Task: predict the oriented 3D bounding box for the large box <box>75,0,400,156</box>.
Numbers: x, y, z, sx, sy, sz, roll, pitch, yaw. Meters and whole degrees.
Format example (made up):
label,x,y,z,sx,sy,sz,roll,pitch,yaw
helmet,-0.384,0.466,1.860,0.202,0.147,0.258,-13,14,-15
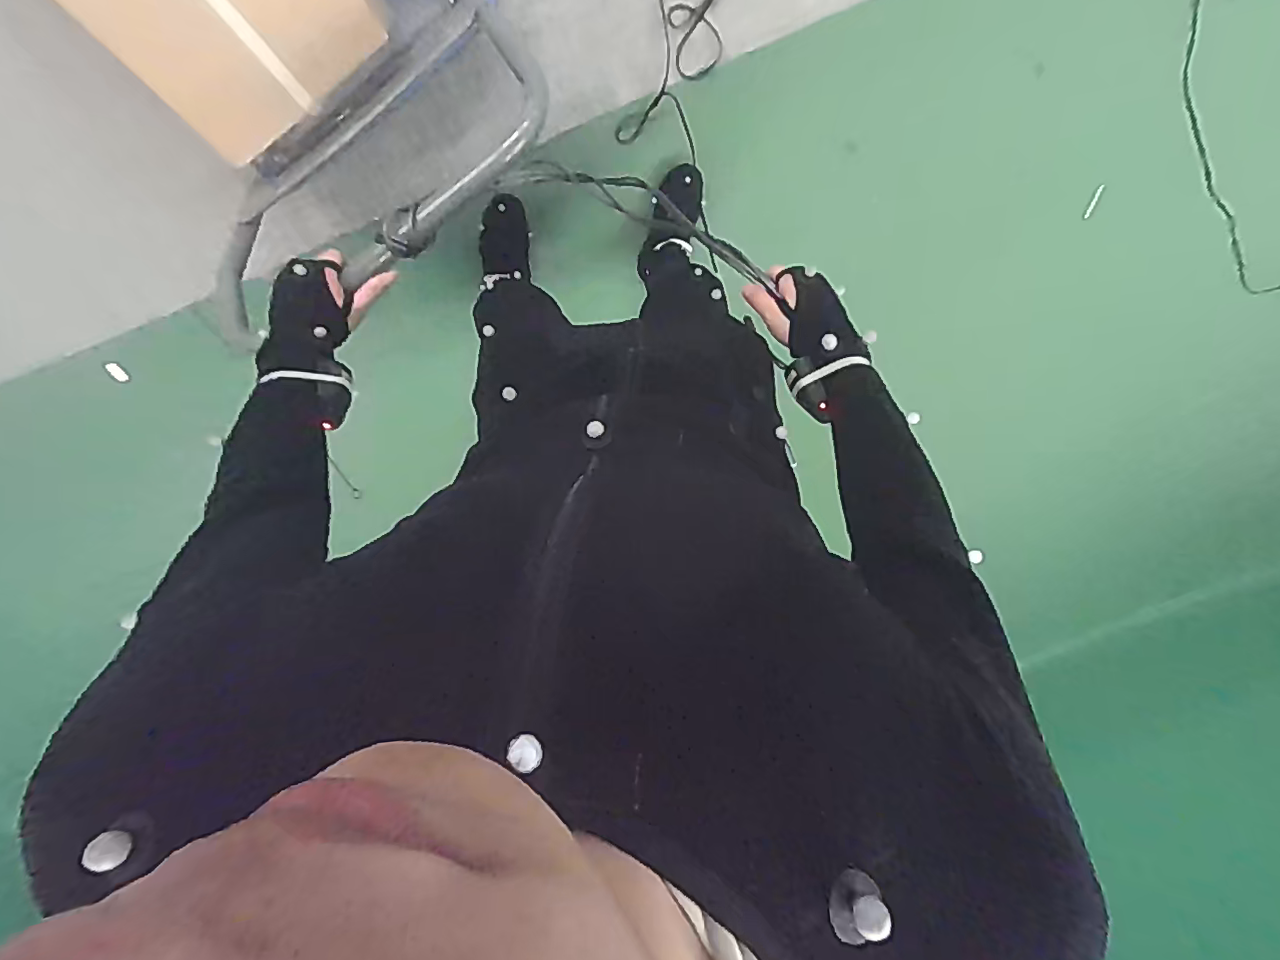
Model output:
label,x,y,z,sx,sy,sz,roll,pitch,yaw
large box,-0.609,-0.771,0.758,0.320,0.320,0.408,-32,136,10
